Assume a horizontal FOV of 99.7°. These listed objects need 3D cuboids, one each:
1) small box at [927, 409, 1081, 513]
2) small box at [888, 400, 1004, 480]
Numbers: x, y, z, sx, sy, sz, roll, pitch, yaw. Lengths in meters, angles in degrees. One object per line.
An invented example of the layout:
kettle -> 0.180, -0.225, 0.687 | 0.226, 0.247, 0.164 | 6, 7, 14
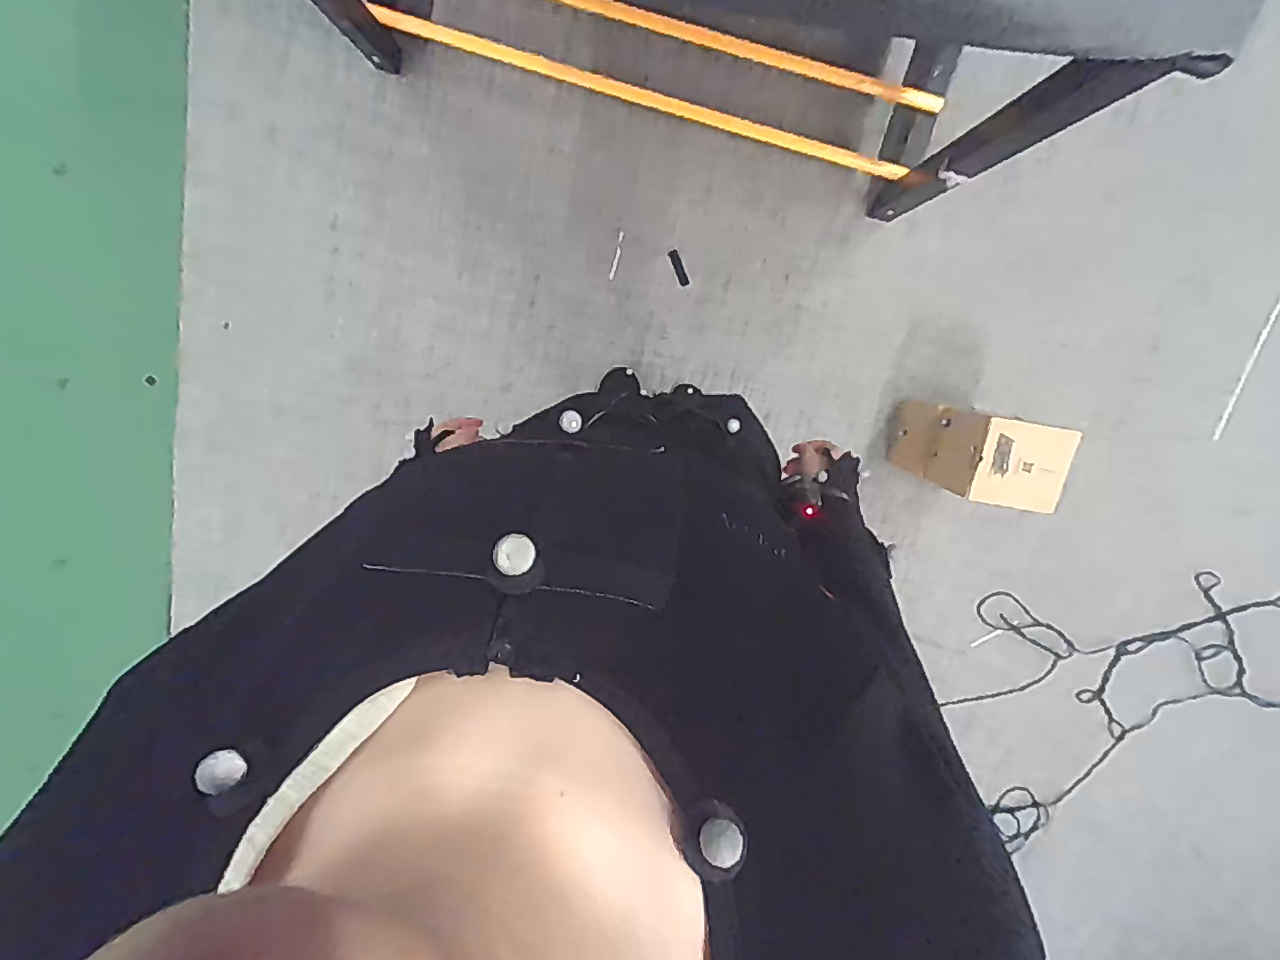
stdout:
small box -> 0.721, -0.046, 1.097 | 0.179, 0.176, 0.168 | 9, 104, -3
small box -> 0.712, -0.089, 1.256 | 0.179, 0.176, 0.168 | 9, 103, -1
